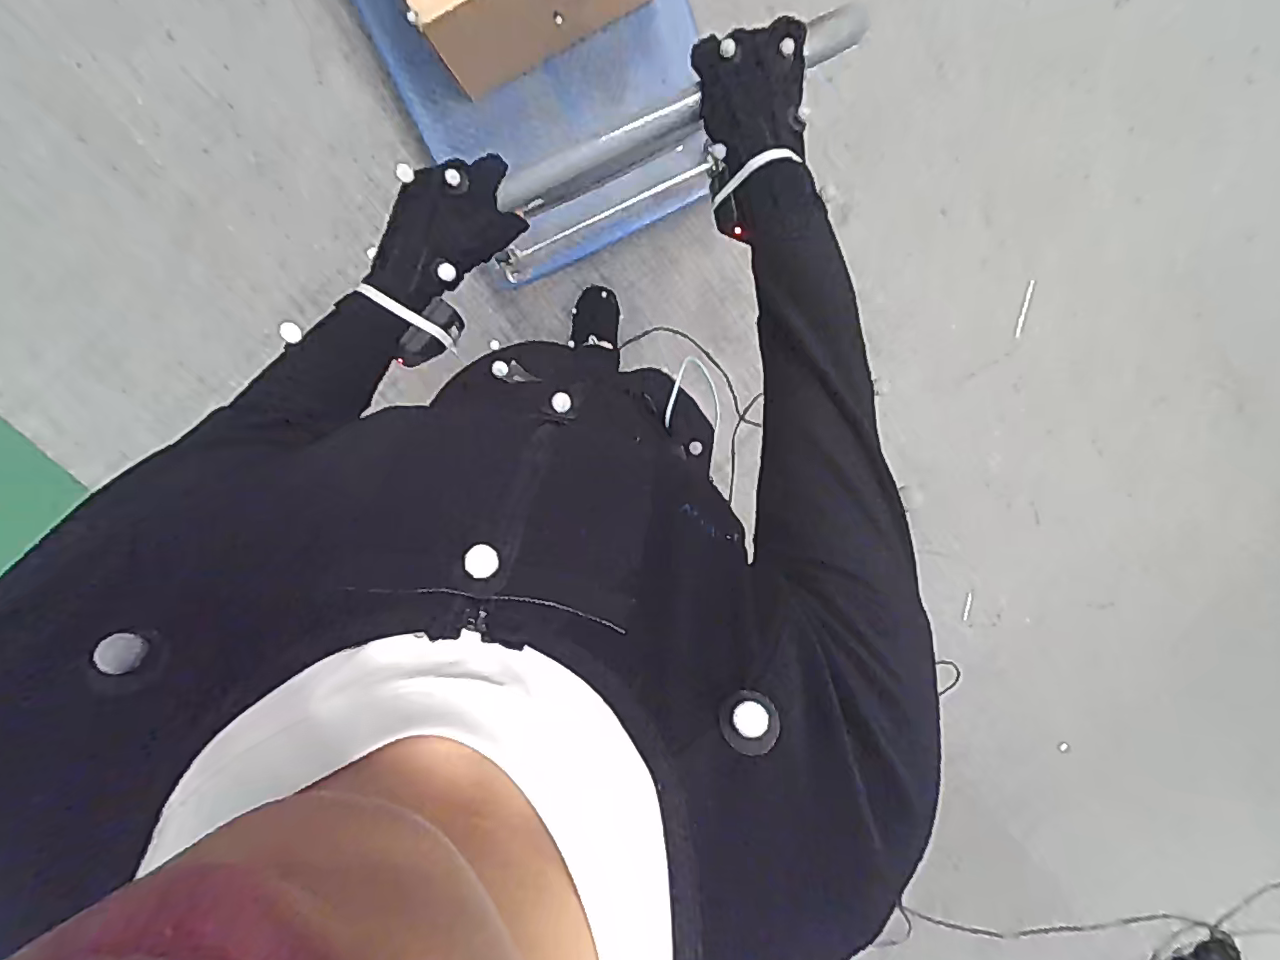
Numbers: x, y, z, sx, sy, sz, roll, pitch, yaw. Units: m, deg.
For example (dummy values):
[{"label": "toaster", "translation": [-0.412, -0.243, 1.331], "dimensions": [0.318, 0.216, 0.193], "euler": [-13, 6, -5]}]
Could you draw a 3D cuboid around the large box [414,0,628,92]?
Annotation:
[{"label": "large box", "translation": [-0.206, -0.919, 0.850], "dimensions": [0.408, 0.320, 0.320], "euler": [-27, 108, 6]}]
